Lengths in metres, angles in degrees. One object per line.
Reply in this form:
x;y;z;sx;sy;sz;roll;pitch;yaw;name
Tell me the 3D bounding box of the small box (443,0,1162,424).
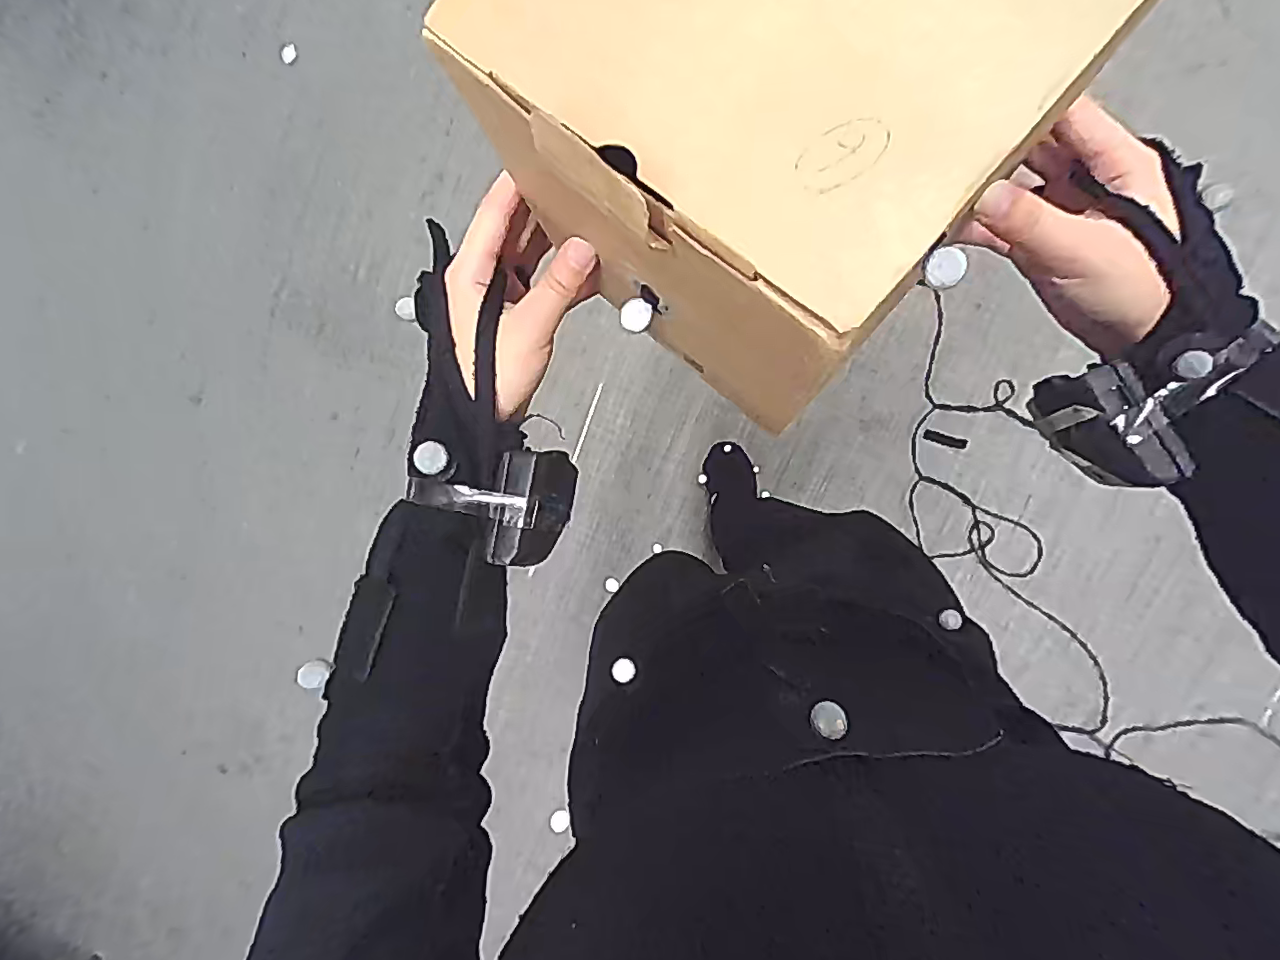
0.063;-0.145;0.234;0.168;0.176;0.179;42;94;9;small box
